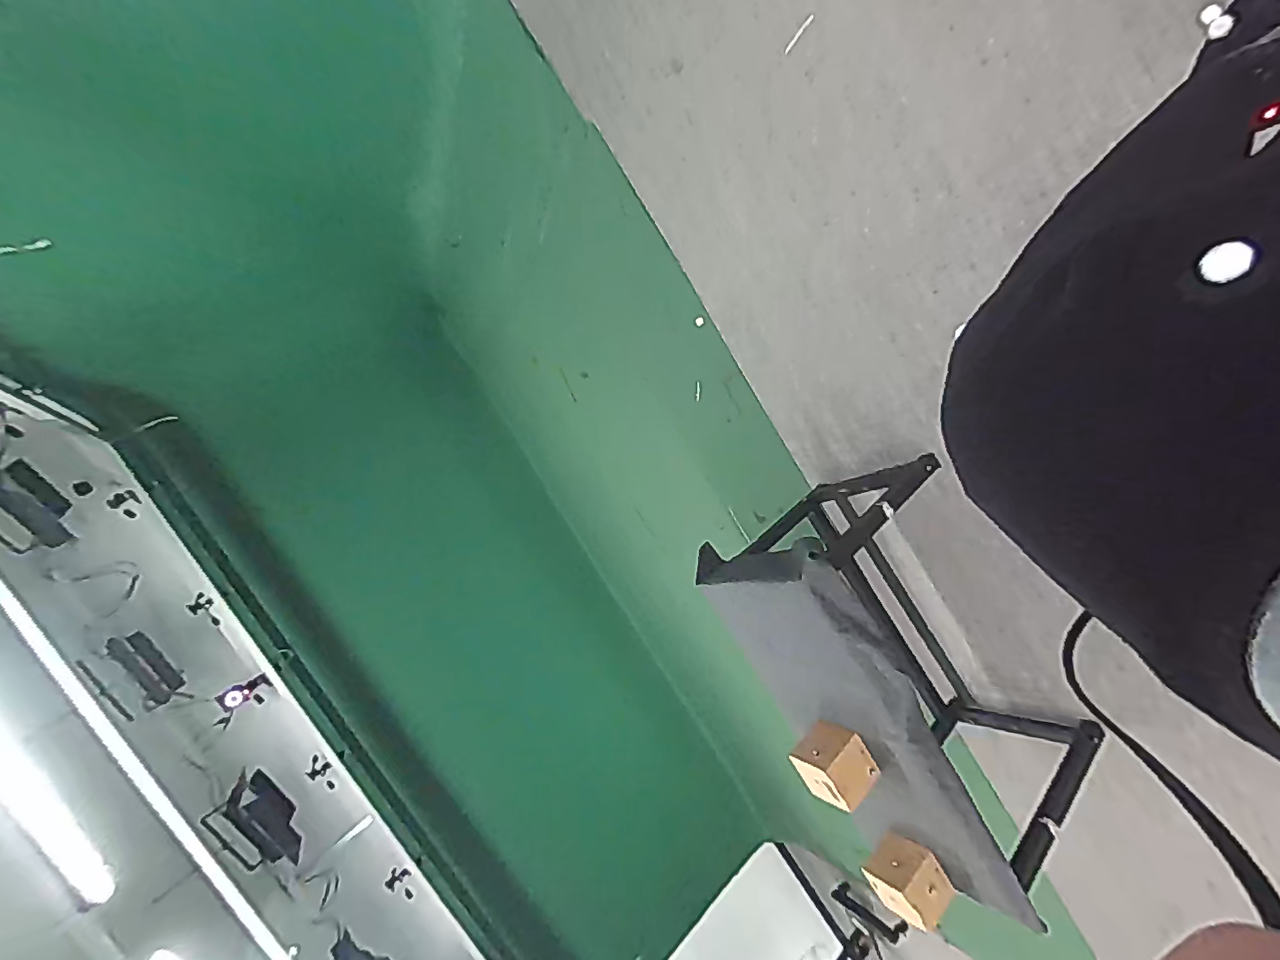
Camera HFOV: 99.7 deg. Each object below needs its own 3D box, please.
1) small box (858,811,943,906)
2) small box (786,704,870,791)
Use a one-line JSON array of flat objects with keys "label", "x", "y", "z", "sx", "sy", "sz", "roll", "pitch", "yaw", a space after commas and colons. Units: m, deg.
[{"label": "small box", "x": 0.882, "y": 1.258, "z": 1.815, "sx": 0.168, "sy": 0.176, "sz": 0.179, "roll": 57, "pitch": 153, "yaw": -4}, {"label": "small box", "x": 0.621, "y": 0.865, "z": 1.768, "sx": 0.168, "sy": 0.176, "sz": 0.179, "roll": 57, "pitch": 155, "yaw": -6}]
